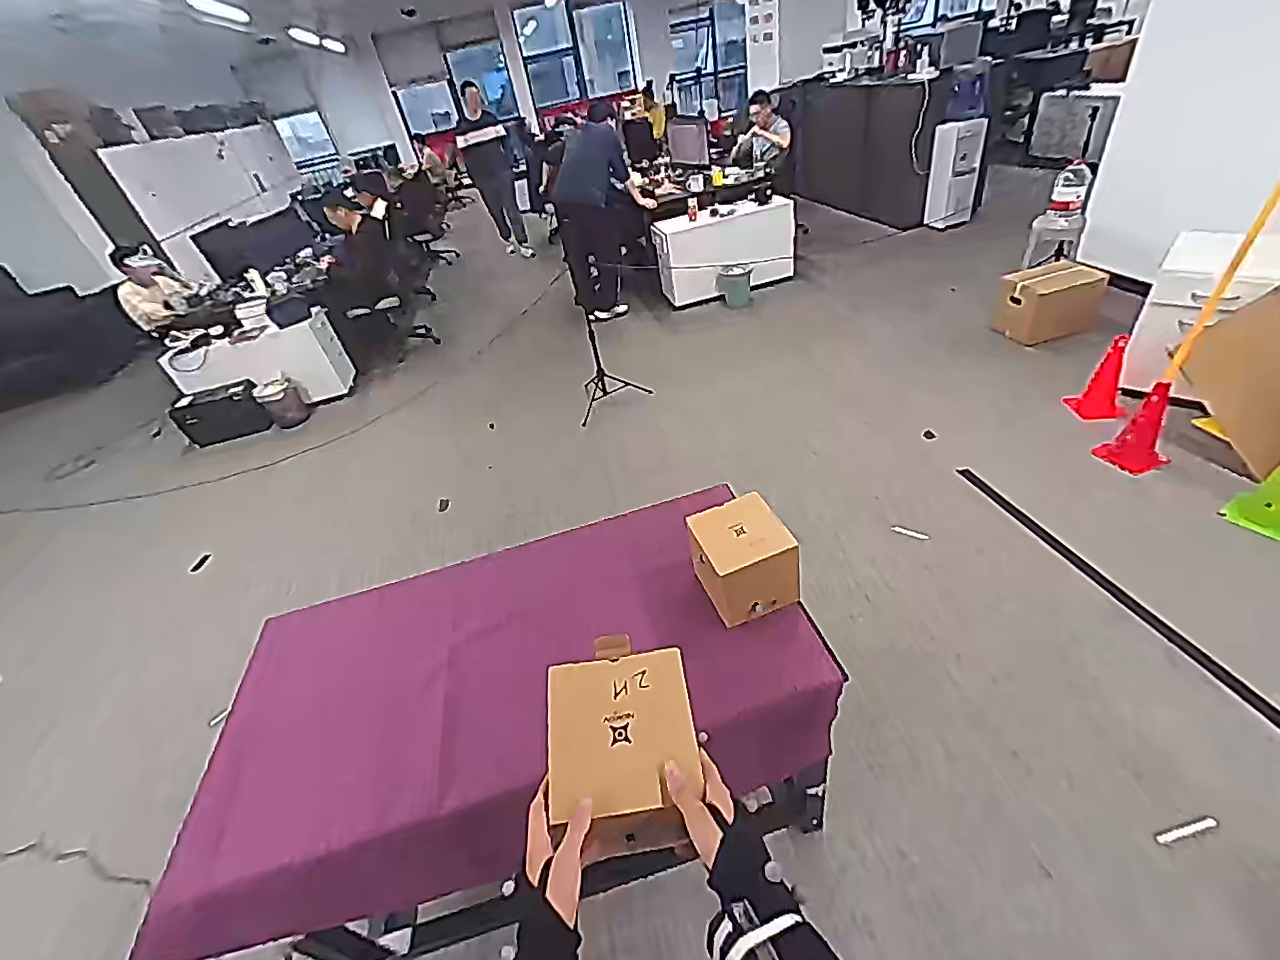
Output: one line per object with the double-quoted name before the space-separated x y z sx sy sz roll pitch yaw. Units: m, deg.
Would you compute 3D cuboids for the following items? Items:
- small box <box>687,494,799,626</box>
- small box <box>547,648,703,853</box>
"small box" 0.209 0.163 1.108 0.168 0.176 0.179 -20 38 -7
"small box" -0.016 0.335 0.662 0.168 0.176 0.179 -7 43 -2
